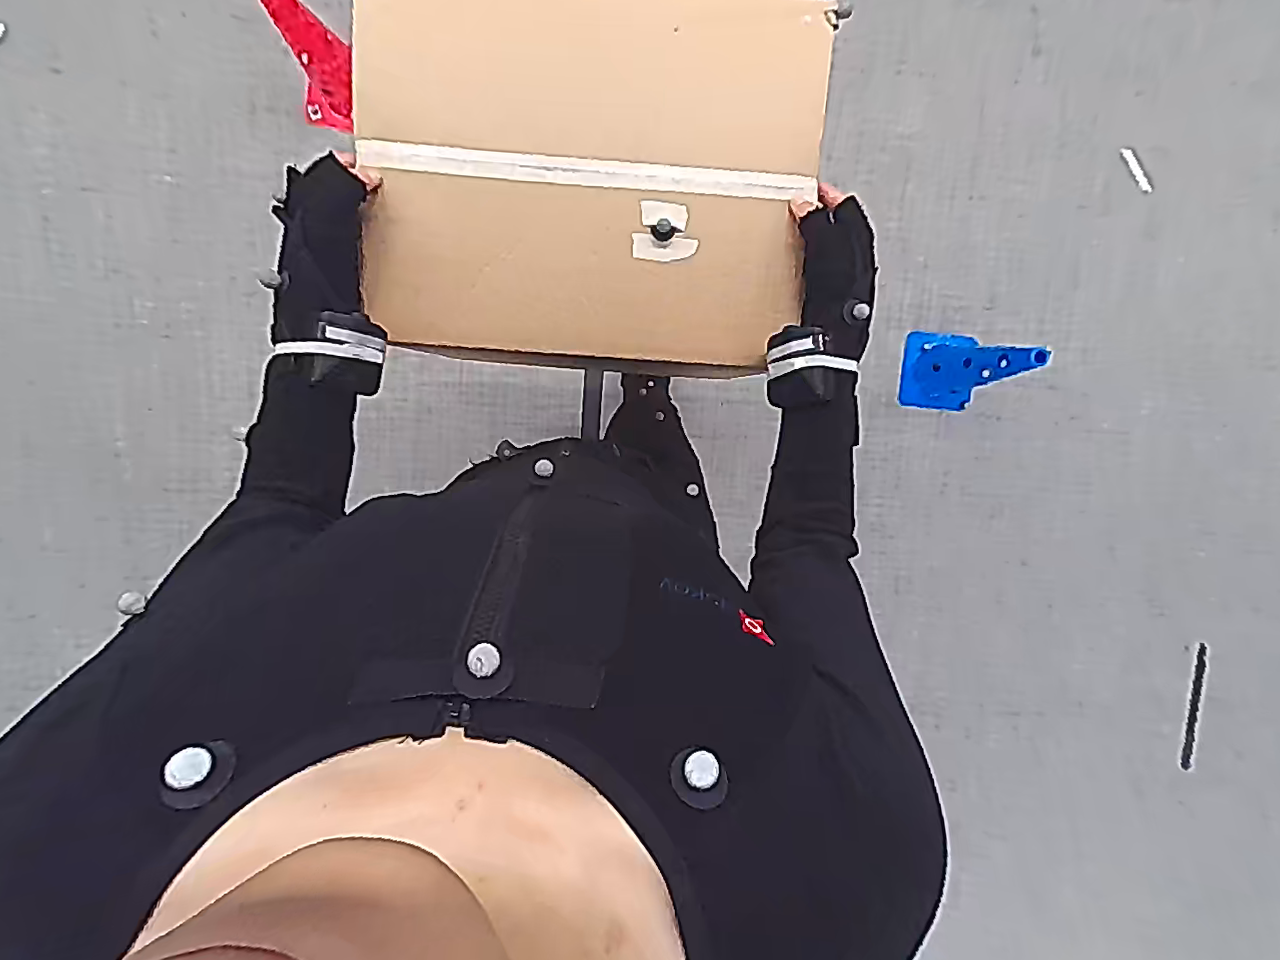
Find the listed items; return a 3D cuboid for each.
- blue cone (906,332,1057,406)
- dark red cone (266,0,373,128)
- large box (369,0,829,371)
[{"bbox_3d":[0.829,-0.282,1.303,0.192,0.380,0.193,6,96,-4],"label":"blue cone"},{"bbox_3d":[-0.696,-0.942,1.131,0.201,0.394,0.202,9,96,-4],"label":"dark red cone"},{"bbox_3d":[-0.047,-0.301,0.632,0.408,0.320,0.320,3,99,-4],"label":"large box"}]
